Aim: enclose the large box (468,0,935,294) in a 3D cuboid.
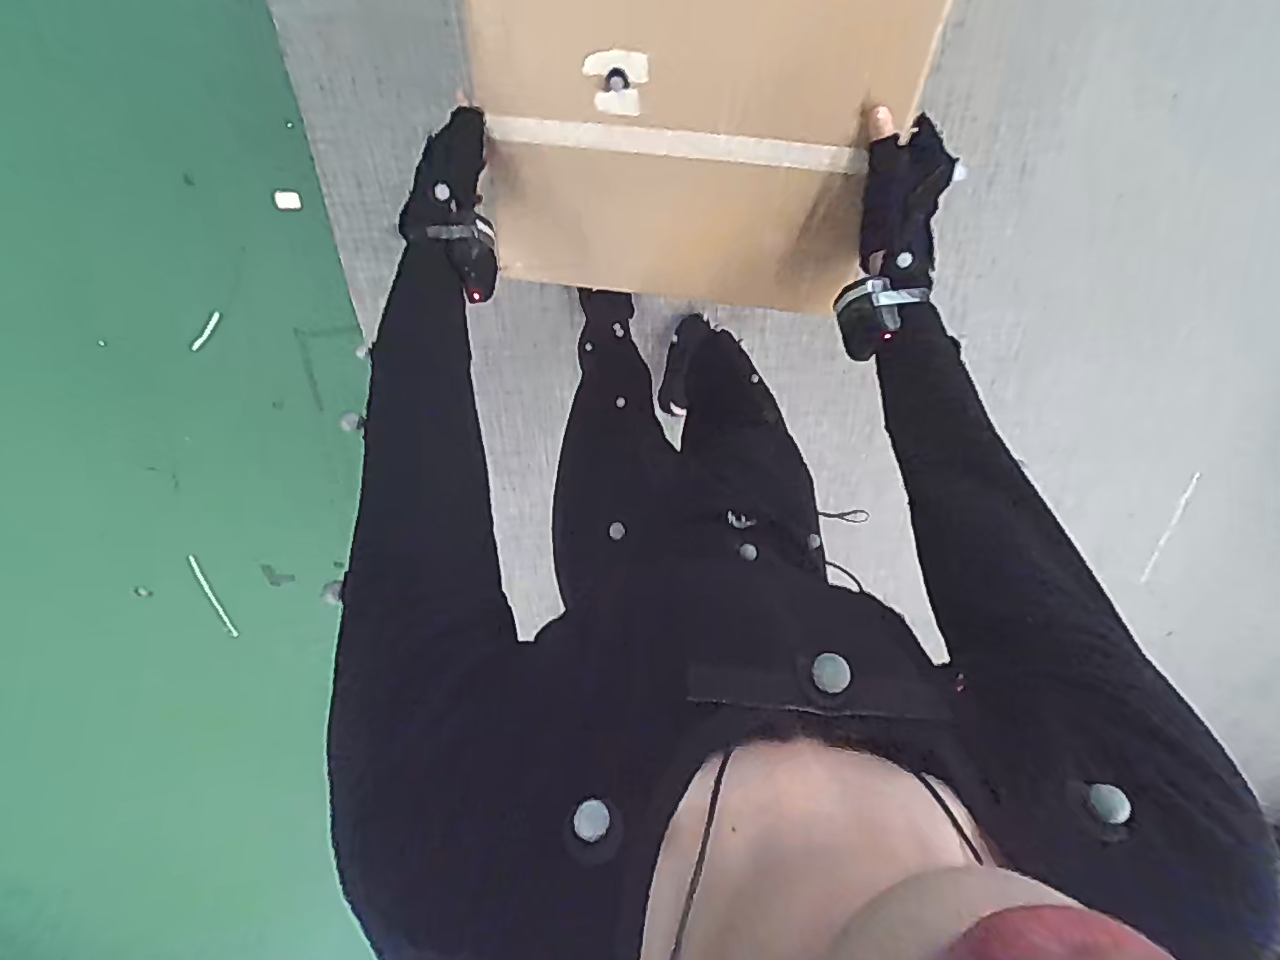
[{"bbox_3d":[0.061,-0.448,0.624,0.408,0.320,0.320,8,135,3],"label":"large box"}]
